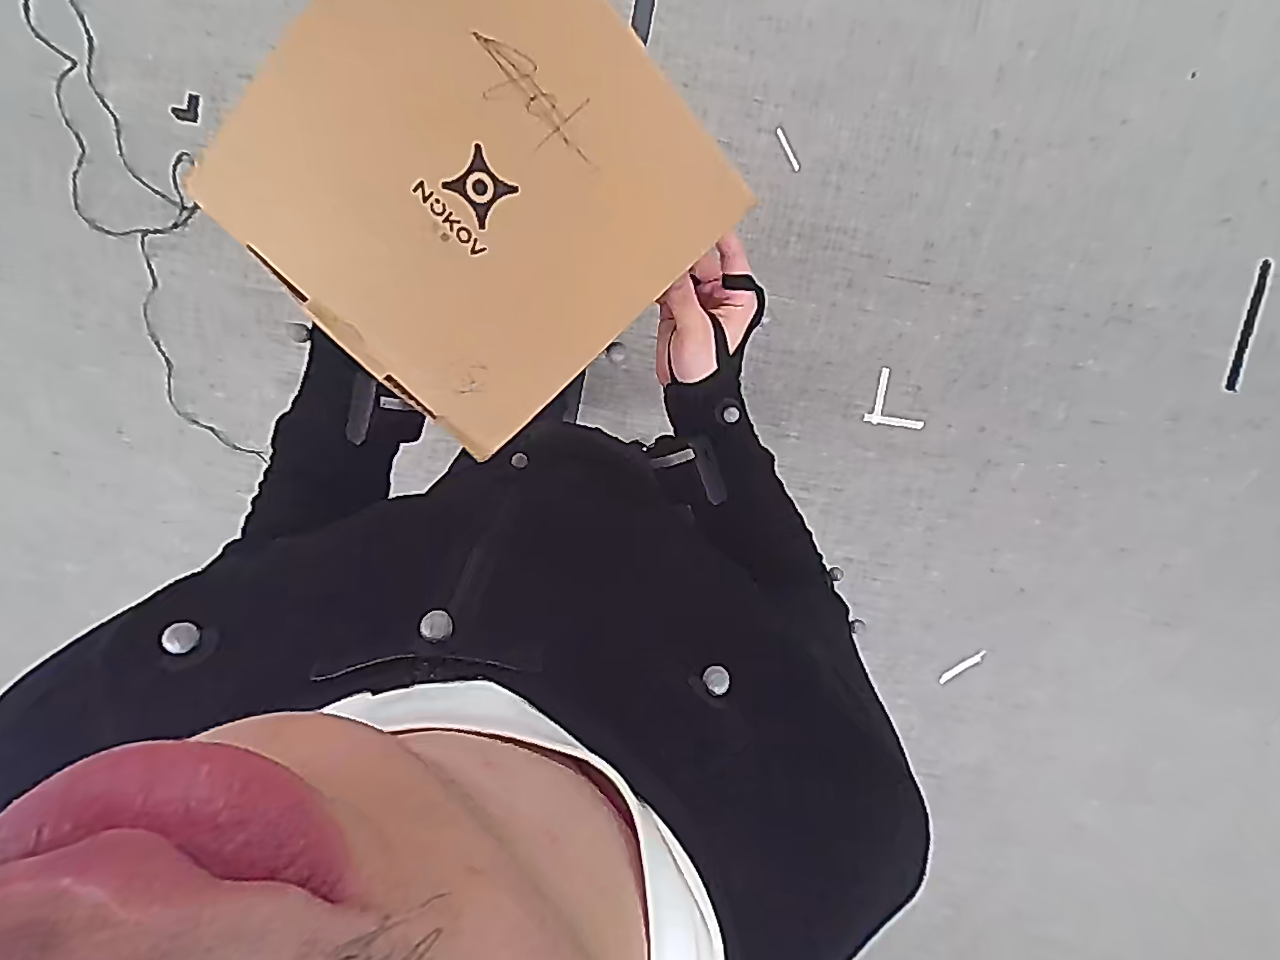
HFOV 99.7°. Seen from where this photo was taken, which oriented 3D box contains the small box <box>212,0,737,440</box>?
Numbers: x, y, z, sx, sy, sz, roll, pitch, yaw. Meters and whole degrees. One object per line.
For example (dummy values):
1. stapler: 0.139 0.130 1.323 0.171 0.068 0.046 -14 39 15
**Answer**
1. small box: -0.073 -0.155 0.313 0.179 0.176 0.168 -42 107 12
